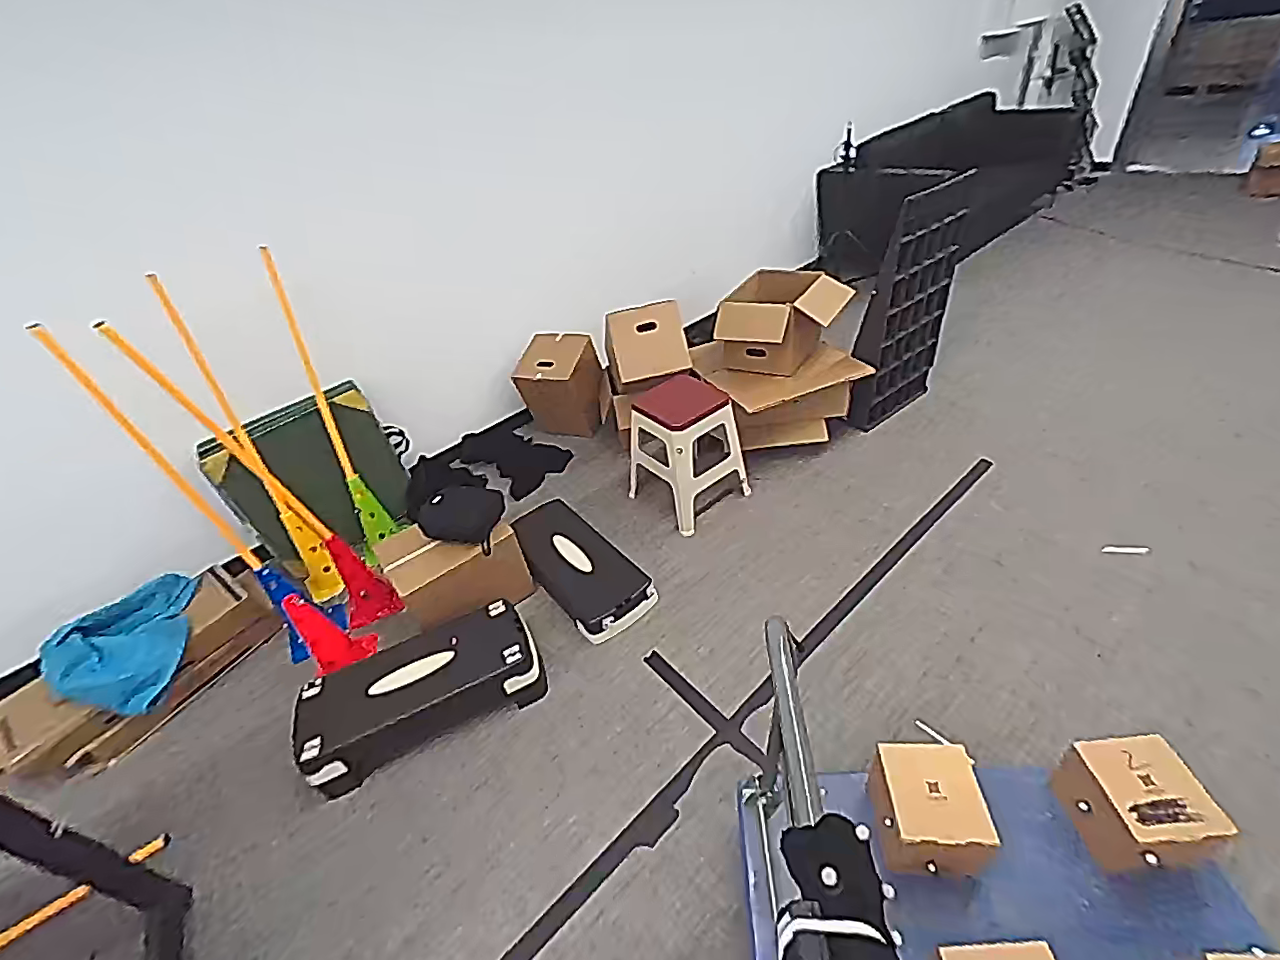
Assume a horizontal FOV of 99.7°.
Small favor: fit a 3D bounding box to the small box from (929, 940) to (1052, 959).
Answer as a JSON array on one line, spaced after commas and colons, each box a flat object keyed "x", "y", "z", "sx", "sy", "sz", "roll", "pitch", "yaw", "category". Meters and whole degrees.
[{"x": 0.556, "y": 0.840, "z": 0.828, "sx": 0.168, "sy": 0.176, "sz": 0.179, "roll": -6, "pitch": 38, "yaw": 4, "category": "small box"}]

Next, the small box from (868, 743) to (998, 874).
[{"x": 0.564, "y": 0.648, "z": 1.071, "sx": 0.168, "sy": 0.176, "sz": 0.179, "roll": -3, "pitch": 40, "yaw": 8, "category": "small box"}]

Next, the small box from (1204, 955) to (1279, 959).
[{"x": 0.928, "y": 0.816, "z": 0.781, "sx": 0.179, "sy": 0.176, "sz": 0.168, "roll": -5, "pitch": 38, "yaw": 8, "category": "small box"}]
